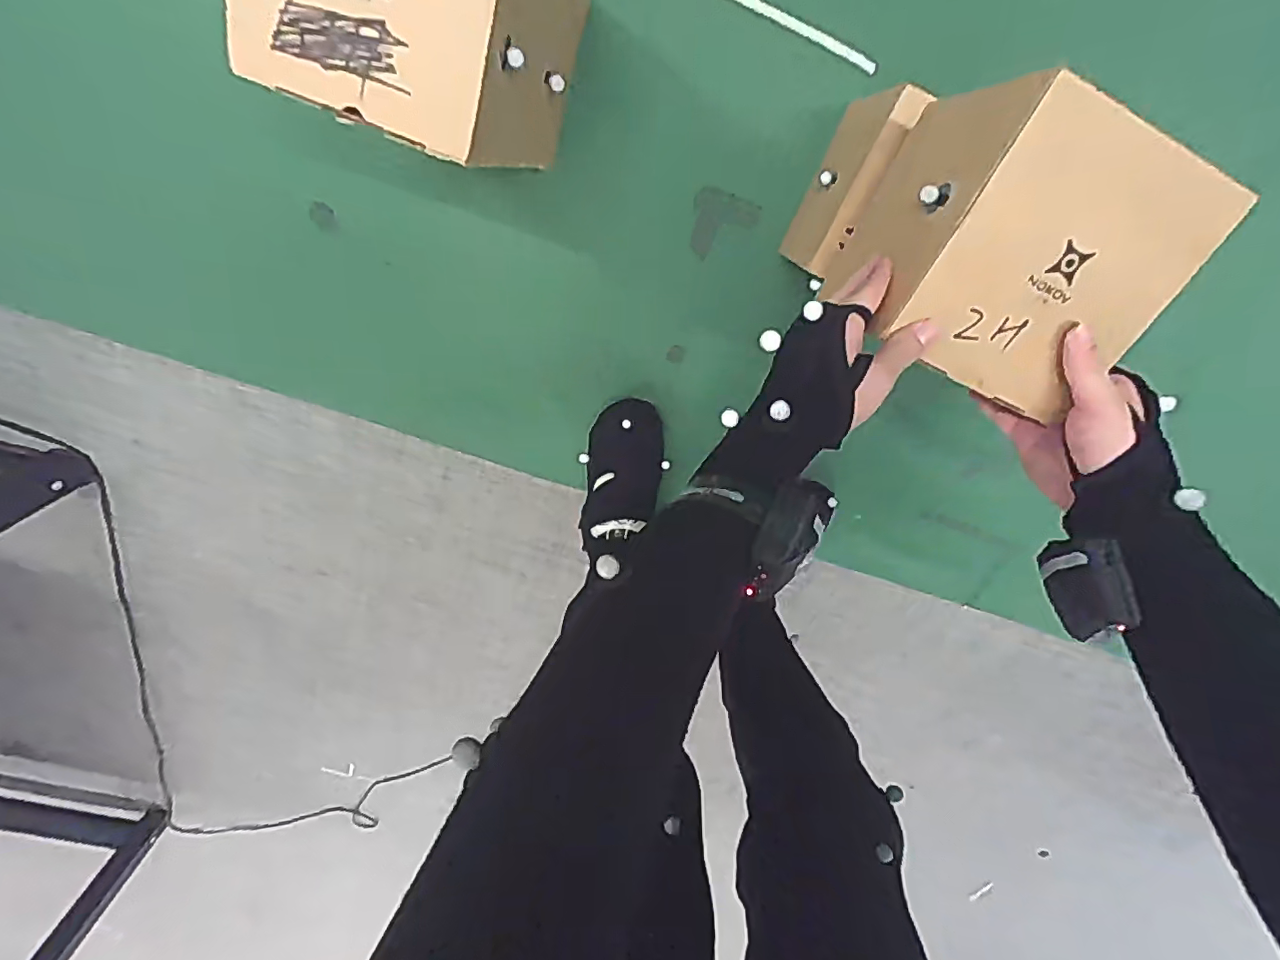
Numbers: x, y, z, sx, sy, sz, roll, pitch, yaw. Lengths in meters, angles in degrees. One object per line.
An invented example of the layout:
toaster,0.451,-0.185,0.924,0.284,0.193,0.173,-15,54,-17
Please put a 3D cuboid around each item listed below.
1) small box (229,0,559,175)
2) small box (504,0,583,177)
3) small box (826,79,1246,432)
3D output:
small box,-0.165,-0.351,0.404,0.168,0.176,0.179,18,118,-9
small box,-0.161,-0.432,0.548,0.168,0.176,0.179,18,119,-8
small box,0.279,-0.172,0.434,0.168,0.176,0.179,22,116,-11
